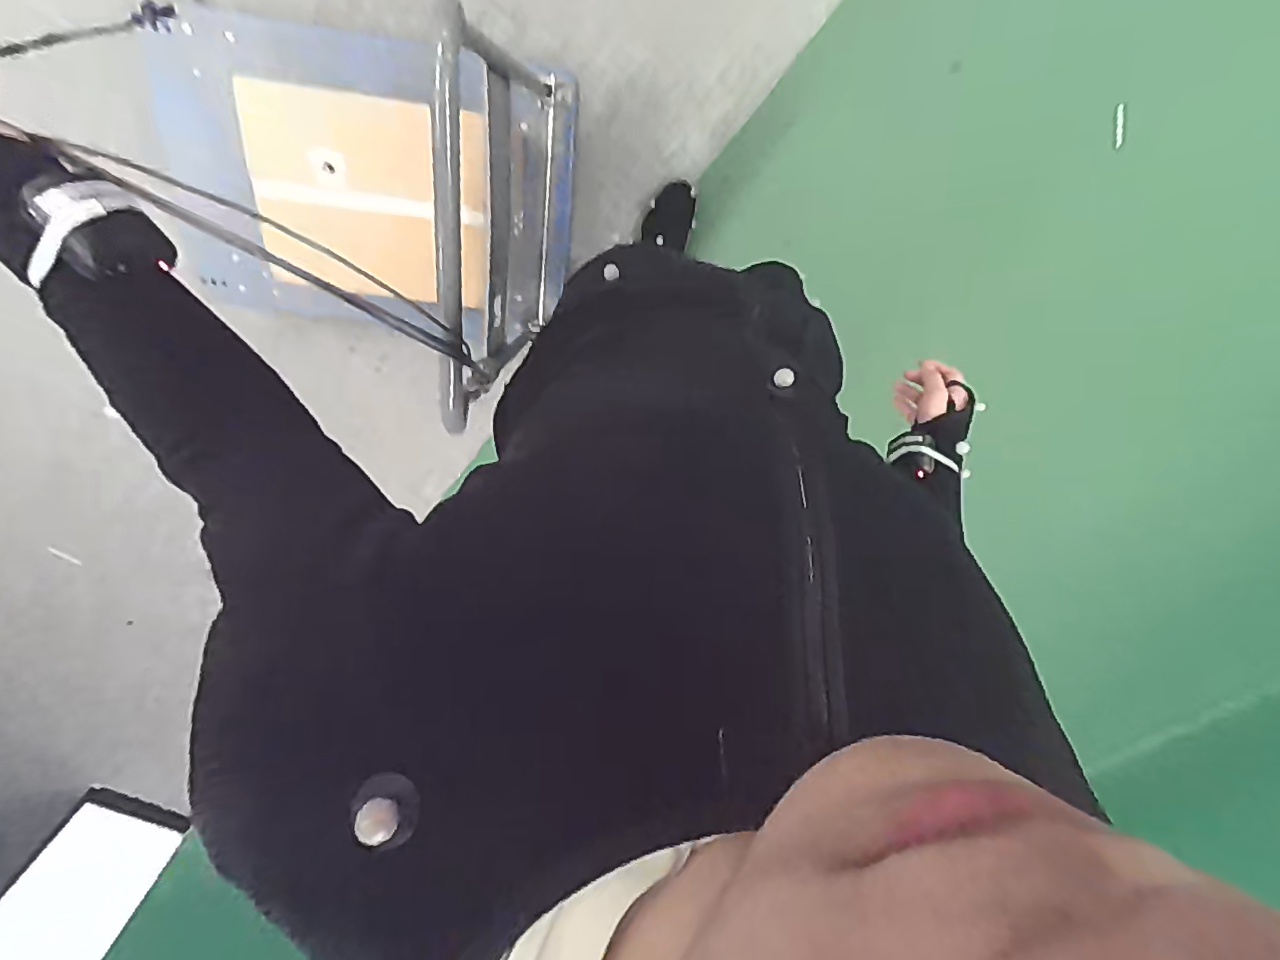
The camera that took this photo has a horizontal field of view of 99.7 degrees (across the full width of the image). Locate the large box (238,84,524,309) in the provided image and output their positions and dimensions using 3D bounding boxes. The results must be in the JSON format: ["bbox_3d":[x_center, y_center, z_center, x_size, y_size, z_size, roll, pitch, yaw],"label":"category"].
[{"bbox_3d":[-0.456,-0.550,1.067,0.408,0.320,0.320,7,119,-3],"label":"large box"}]
